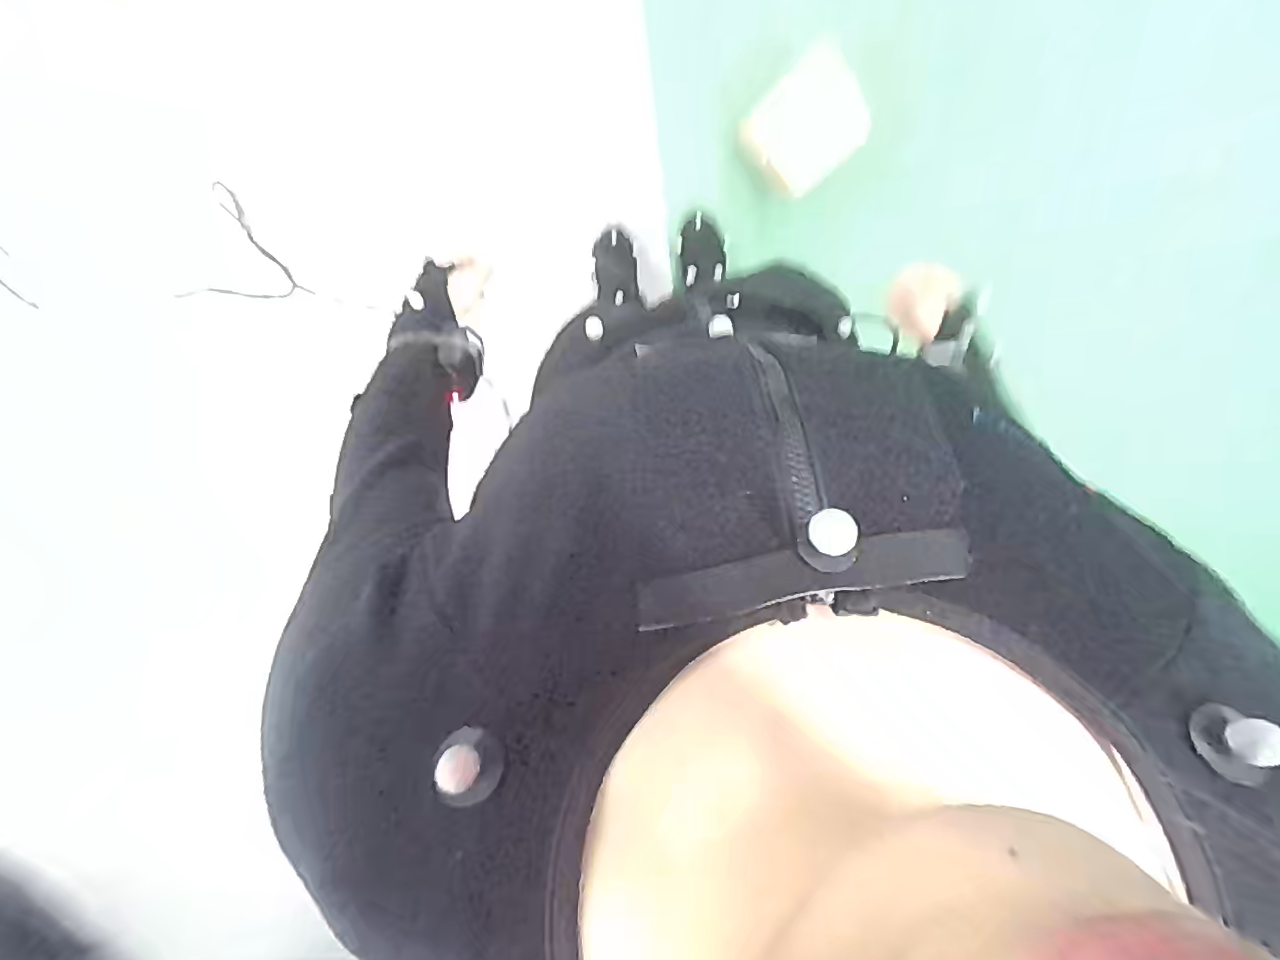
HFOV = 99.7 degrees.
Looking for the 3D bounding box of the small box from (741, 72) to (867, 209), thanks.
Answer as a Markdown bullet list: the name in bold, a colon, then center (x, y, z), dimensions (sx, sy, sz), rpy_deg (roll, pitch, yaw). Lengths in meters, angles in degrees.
- **small box**: center (0.337, -0.705, 1.145), dimensions (0.179, 0.176, 0.168), rpy_deg (-38, 110, 15)
